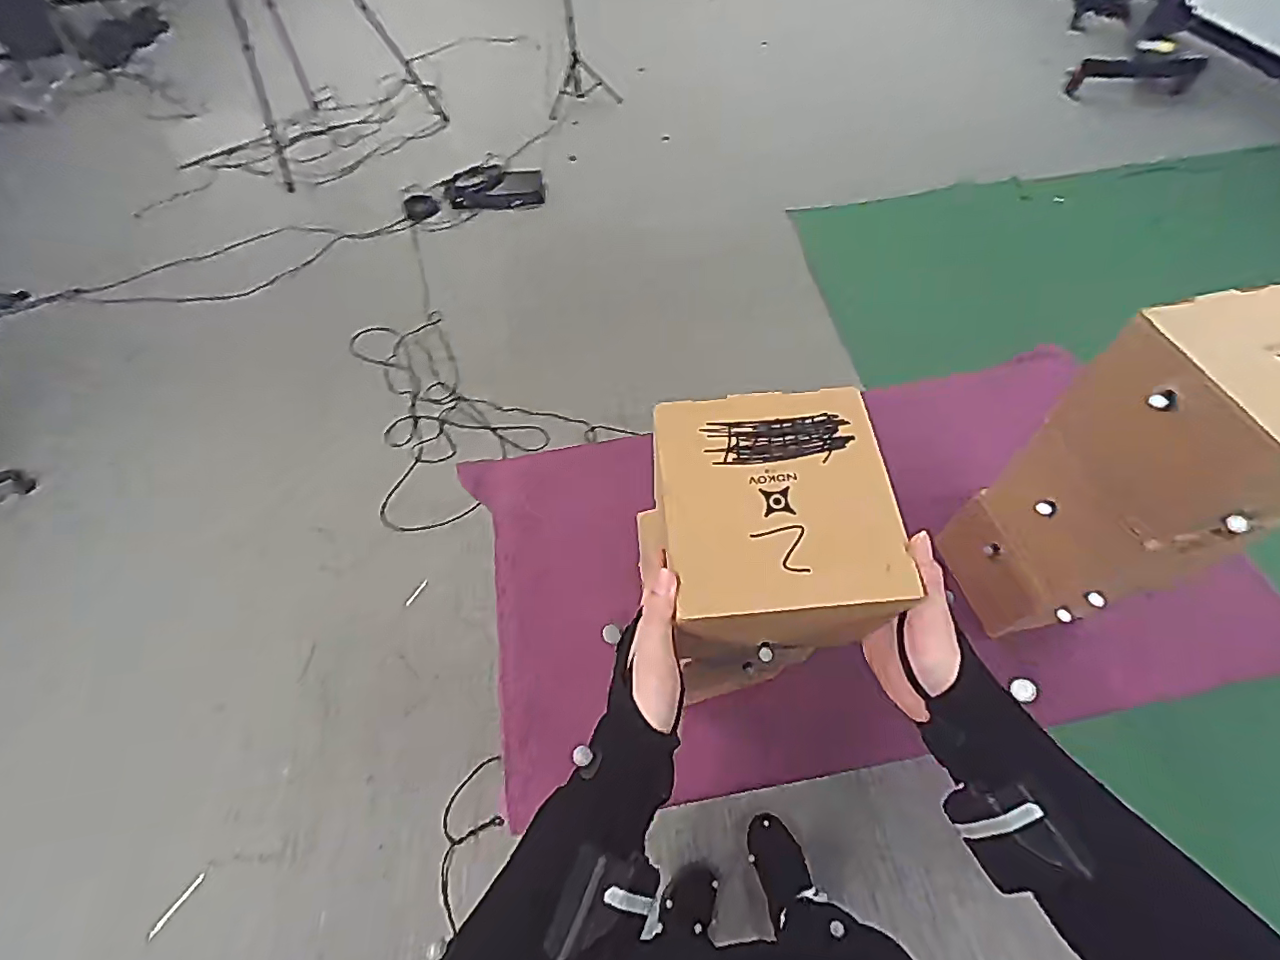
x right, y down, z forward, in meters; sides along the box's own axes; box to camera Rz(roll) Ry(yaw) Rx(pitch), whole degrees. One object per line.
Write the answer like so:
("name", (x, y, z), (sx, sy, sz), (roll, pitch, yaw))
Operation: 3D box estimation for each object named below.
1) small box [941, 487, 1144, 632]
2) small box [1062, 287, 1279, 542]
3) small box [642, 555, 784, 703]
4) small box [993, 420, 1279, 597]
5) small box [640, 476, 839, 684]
("small box", (0.593, 0.114, 0.806), (0.168, 0.176, 0.179), (-11, 57, -4))
("small box", (0.575, -0.062, 0.529), (0.168, 0.176, 0.179), (-9, 57, -2))
("small box", (0.104, 0.198, 0.779), (0.168, 0.176, 0.179), (-15, 58, -6))
("small box", (0.587, 0.031, 0.663), (0.168, 0.176, 0.179), (-10, 56, -3))
("small box", (0.101, 0.125, 0.629), (0.168, 0.176, 0.179), (-13, 58, -6))
